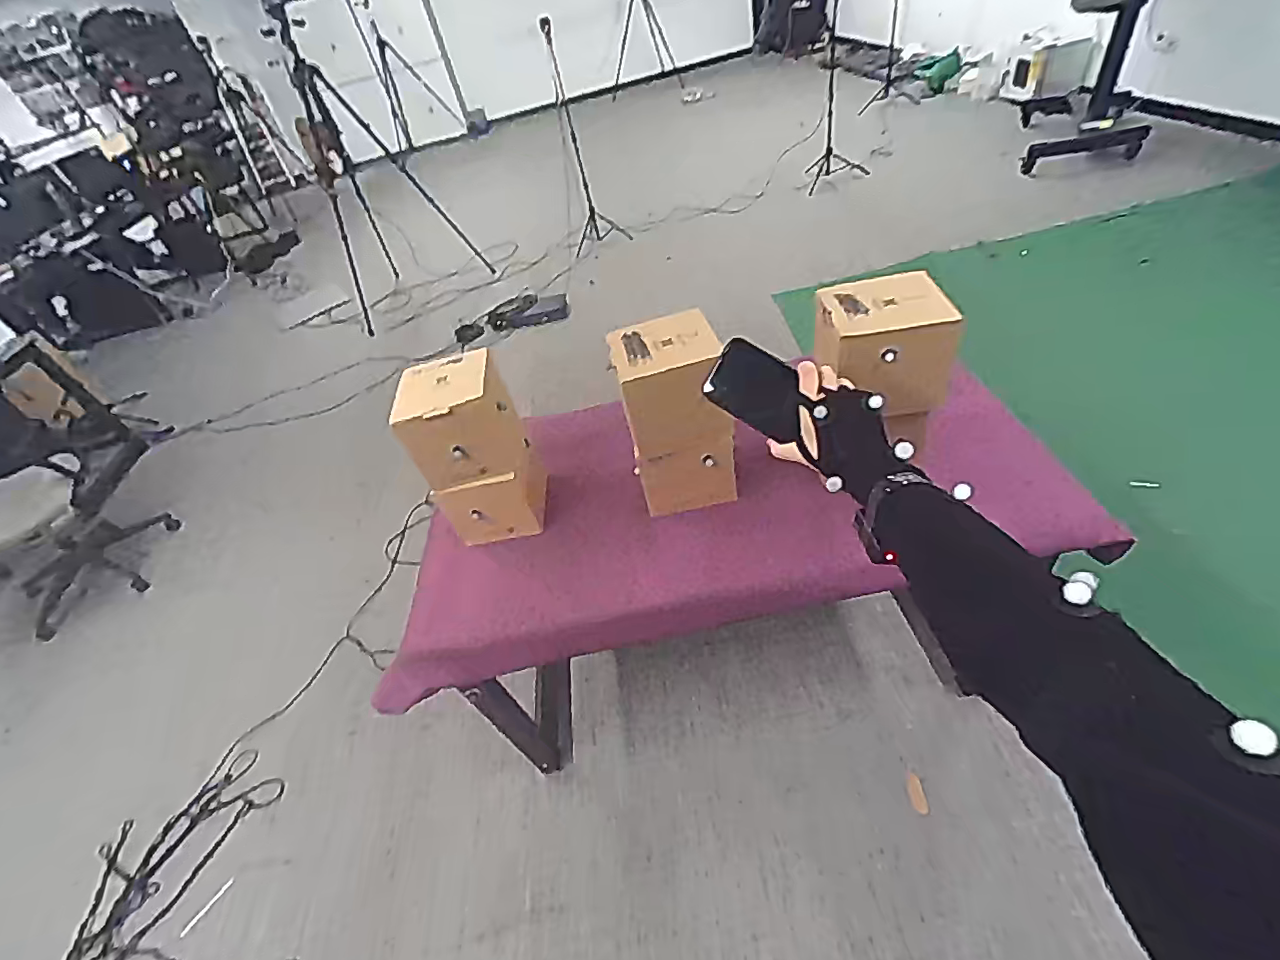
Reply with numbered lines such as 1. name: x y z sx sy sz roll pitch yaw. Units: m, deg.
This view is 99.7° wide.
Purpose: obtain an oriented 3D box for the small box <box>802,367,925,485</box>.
1. small box: 0.412 -0.109 1.030 0.179 0.176 0.168 -7 44 10

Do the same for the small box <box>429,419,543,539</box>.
1. small box: -0.305 0.006 1.114 0.168 0.176 0.179 -11 44 5

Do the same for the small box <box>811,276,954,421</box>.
1. small box: 0.390 -0.215 0.905 0.179 0.176 0.168 -6 44 8

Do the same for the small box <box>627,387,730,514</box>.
1. small box: 0.078 -0.055 1.067 0.179 0.176 0.168 -11 44 5

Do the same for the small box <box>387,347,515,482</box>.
1. small box: -0.338 -0.115 1.007 0.168 0.176 0.179 -14 44 1
